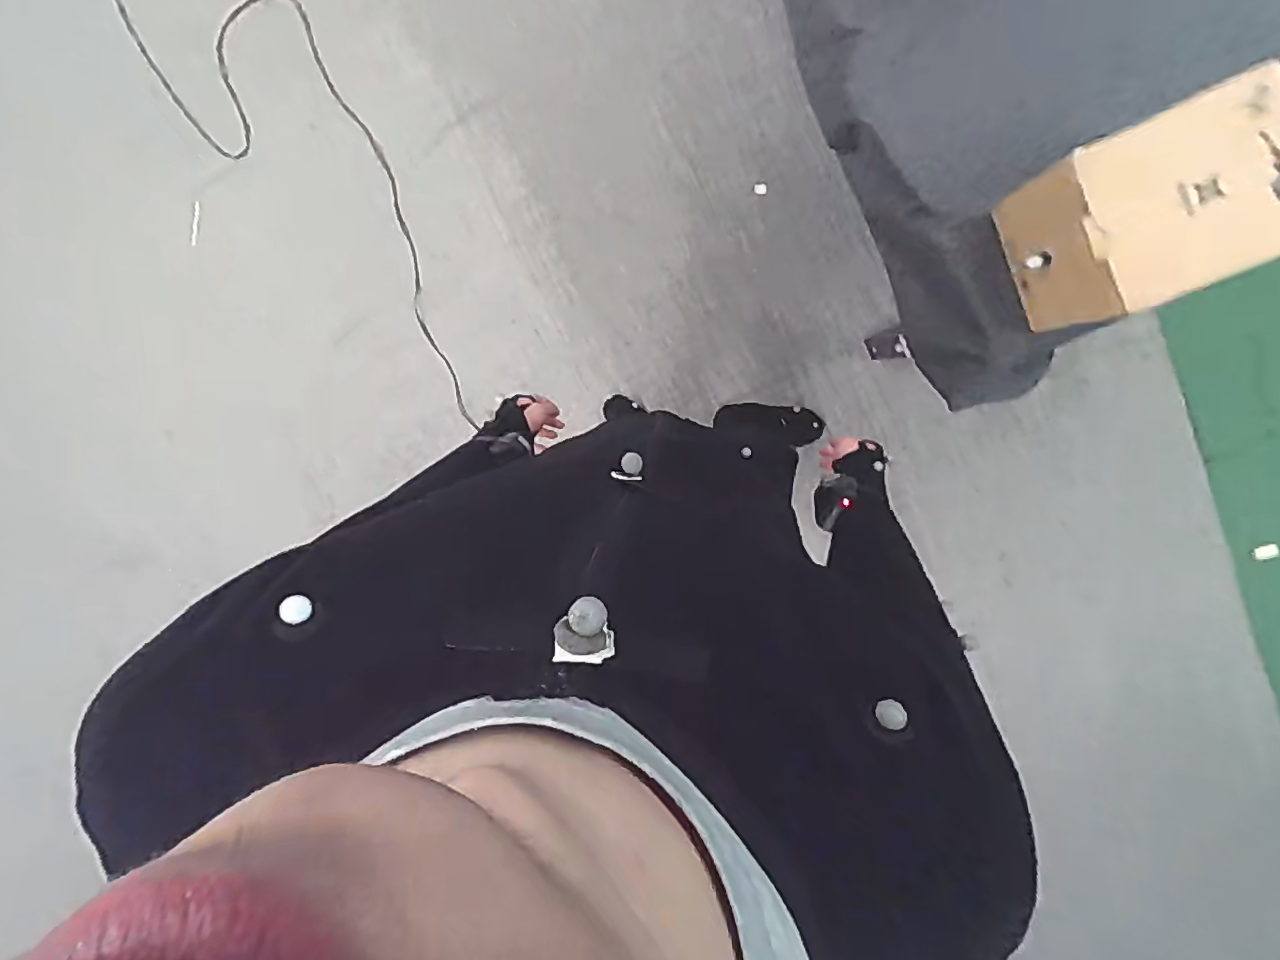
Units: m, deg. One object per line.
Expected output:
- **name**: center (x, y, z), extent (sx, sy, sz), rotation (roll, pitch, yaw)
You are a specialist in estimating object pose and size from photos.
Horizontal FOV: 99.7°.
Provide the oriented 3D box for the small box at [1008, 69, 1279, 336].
- **small box**: center (0.528, -0.266, 0.572), extent (0.179, 0.176, 0.168), rotation (-22, 95, 13)
